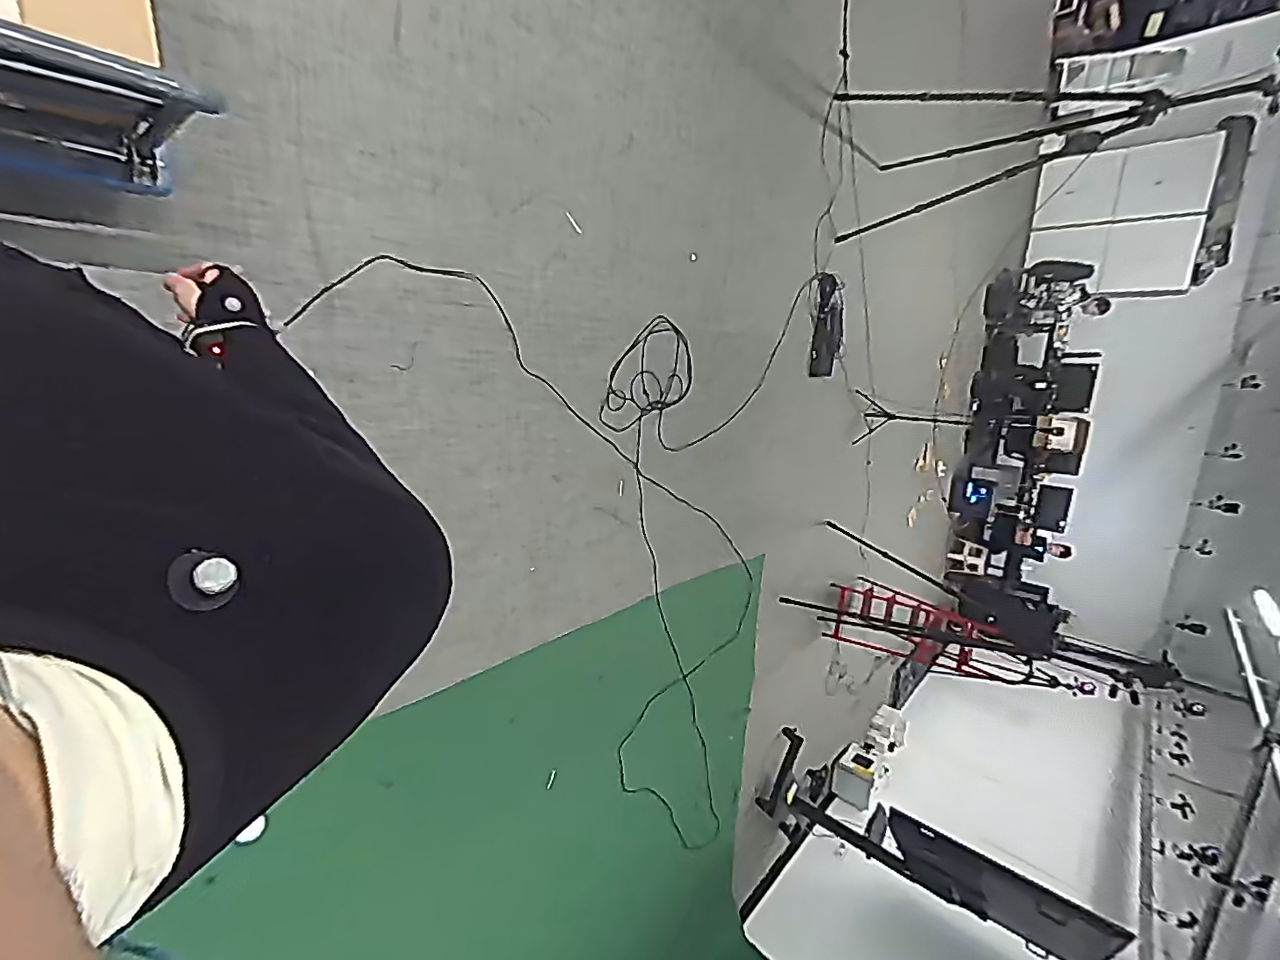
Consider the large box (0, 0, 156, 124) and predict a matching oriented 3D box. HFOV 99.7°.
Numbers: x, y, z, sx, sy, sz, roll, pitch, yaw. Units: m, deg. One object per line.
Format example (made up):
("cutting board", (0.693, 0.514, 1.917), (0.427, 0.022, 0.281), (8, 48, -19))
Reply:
("large box", (-0.947, -0.803, 0.766), (0.320, 0.320, 0.408), (-14, 110, -46))
